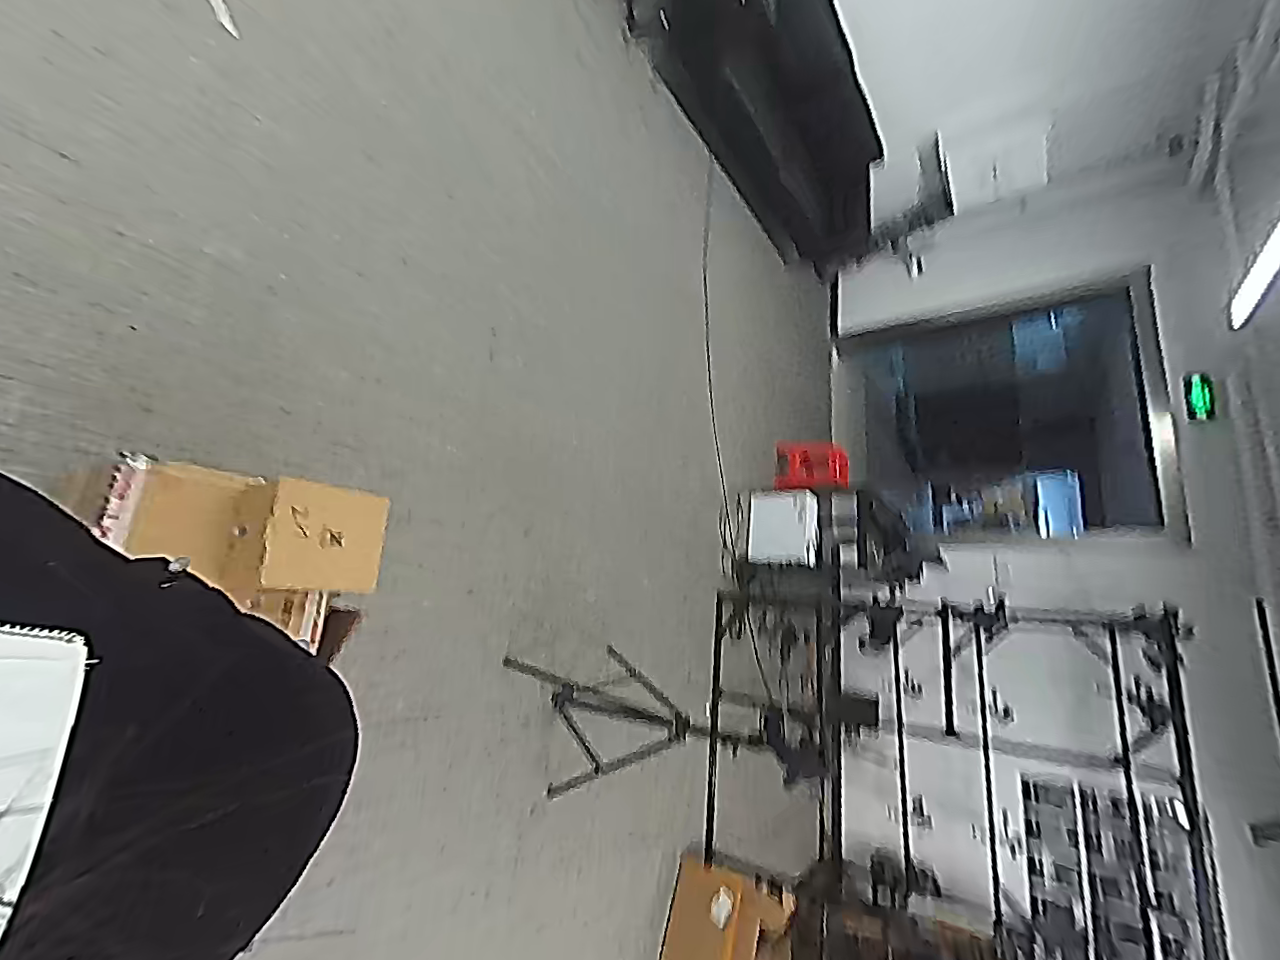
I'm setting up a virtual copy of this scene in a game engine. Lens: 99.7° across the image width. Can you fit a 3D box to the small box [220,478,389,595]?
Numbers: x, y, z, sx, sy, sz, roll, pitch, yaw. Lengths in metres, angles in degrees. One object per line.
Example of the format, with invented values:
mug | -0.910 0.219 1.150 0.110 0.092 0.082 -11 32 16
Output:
small box | -0.561 0.102 0.910 0.179 0.176 0.168 20 68 -49
